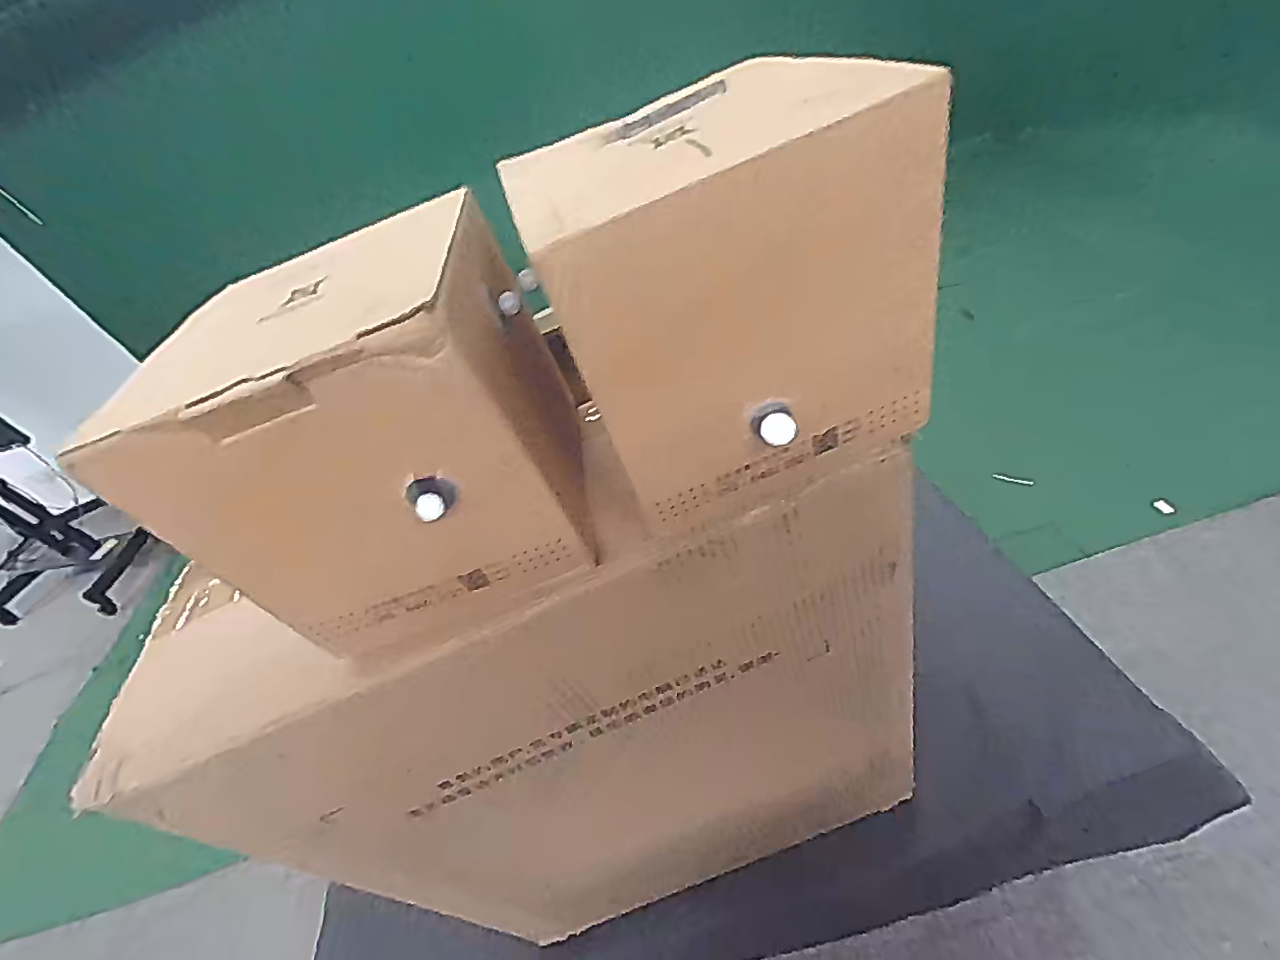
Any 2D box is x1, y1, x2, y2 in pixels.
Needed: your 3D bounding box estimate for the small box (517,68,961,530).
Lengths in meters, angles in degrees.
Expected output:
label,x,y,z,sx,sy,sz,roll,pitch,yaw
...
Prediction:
label,x,y,z,sx,sy,sz,roll,pitch,yaw
small box,0.044,-0.104,0.312,0.168,0.176,0.179,-22,42,1
